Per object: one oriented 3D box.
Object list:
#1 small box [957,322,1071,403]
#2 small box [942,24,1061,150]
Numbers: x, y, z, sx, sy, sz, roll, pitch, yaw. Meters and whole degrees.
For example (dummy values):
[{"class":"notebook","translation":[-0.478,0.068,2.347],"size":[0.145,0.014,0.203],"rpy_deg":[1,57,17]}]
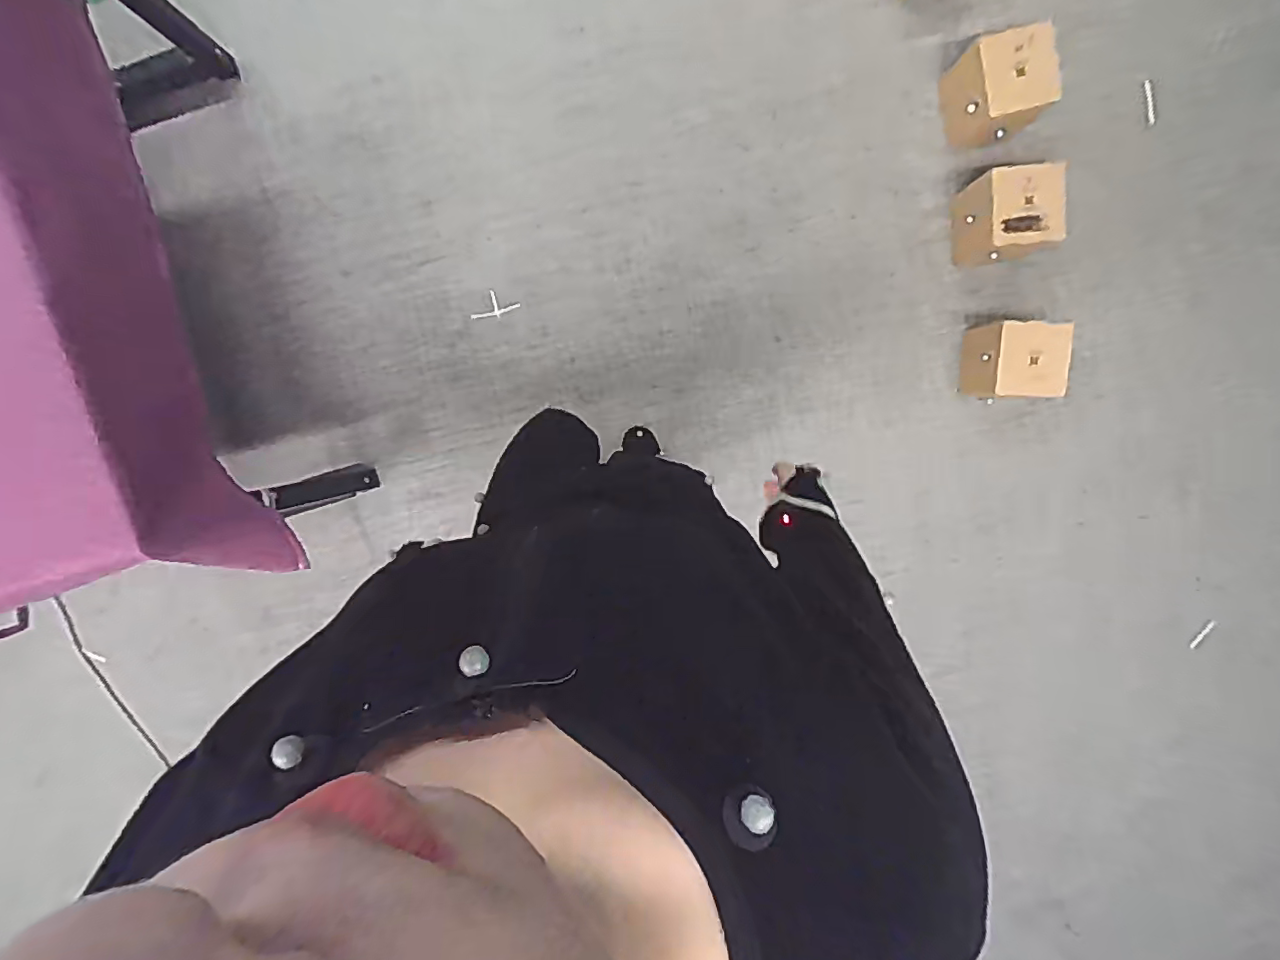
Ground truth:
[{"class":"small box","translation":[0.927,-0.288,1.357],"size":[0.168,0.176,0.179],"rpy_deg":[4,97,1]},{"class":"small box","translation":[0.853,-0.920,1.288],"size":[0.168,0.176,0.179],"rpy_deg":[-12,96,2]}]
